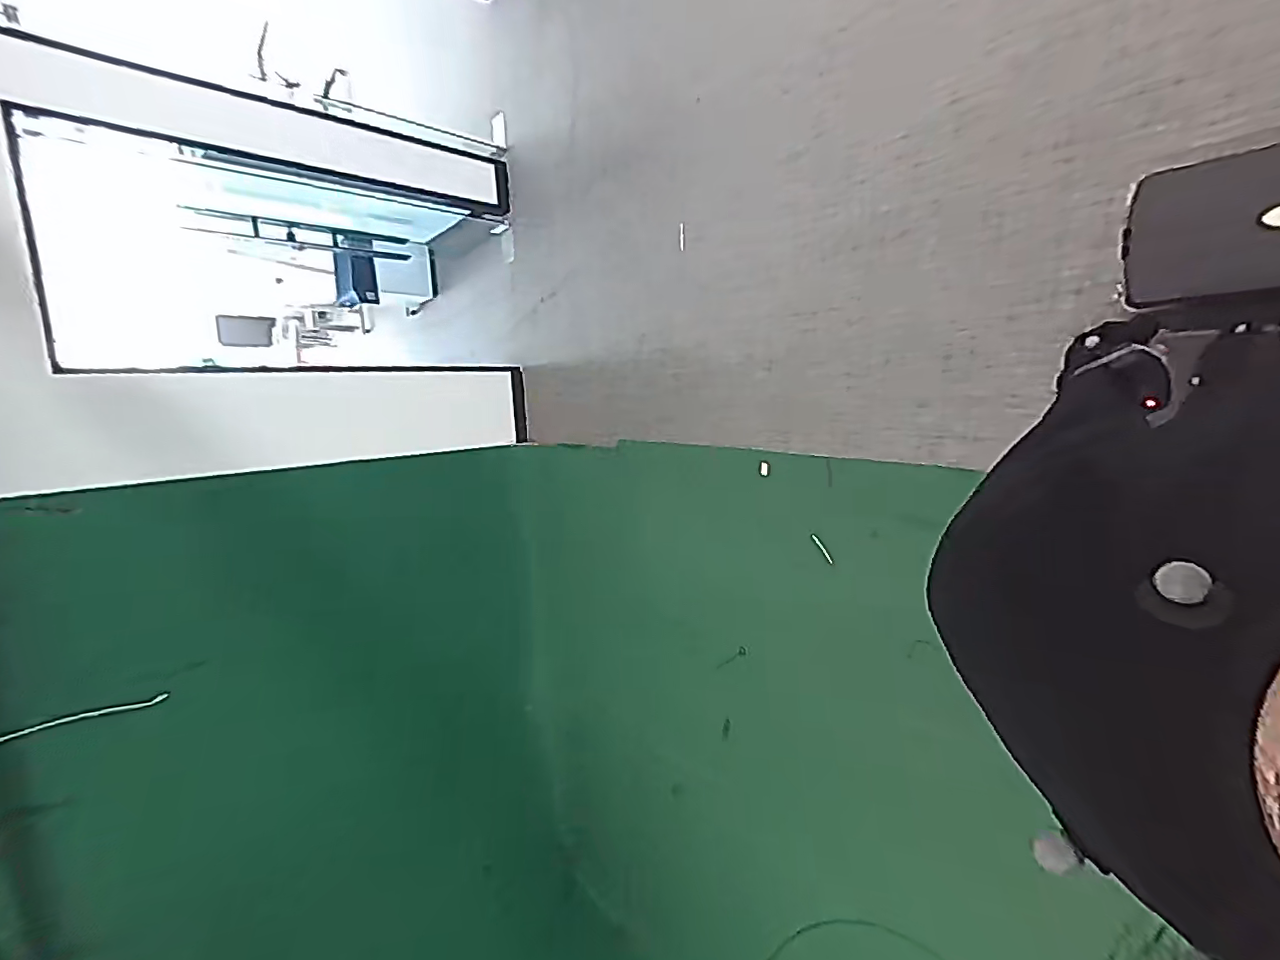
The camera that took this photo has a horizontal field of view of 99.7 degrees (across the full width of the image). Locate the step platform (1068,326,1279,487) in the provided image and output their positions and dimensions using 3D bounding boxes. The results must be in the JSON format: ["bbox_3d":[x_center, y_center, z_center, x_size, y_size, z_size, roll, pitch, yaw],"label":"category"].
[{"bbox_3d":[1.137,-0.116,0.866,0.684,0.204,0.286,7,103,47],"label":"step platform"}]
